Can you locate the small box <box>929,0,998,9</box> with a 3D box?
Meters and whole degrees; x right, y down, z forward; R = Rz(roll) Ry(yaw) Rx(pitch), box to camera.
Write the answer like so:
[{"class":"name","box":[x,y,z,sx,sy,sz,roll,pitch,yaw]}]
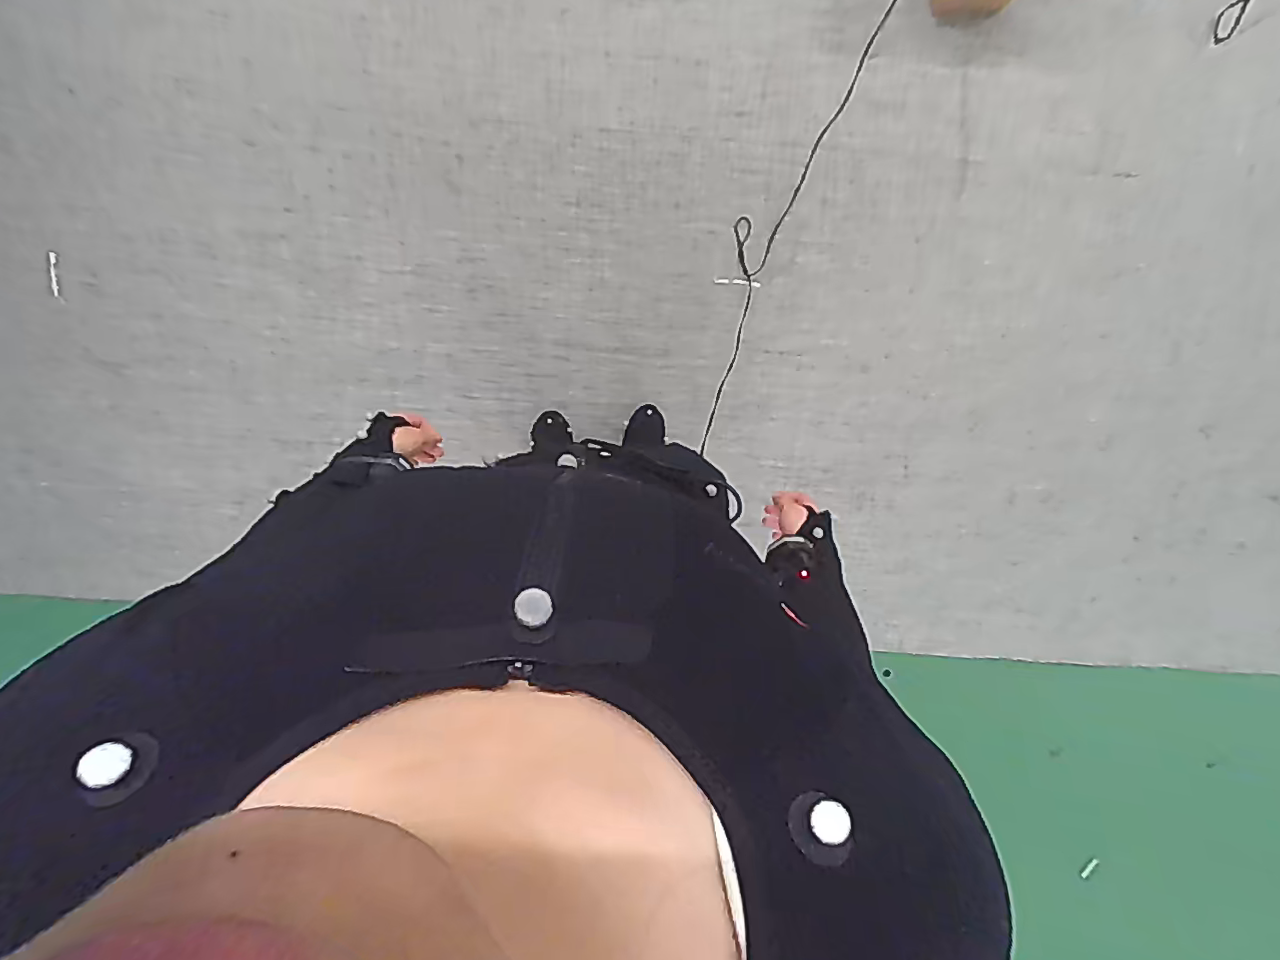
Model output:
[{"class":"small box","box":[0.774,-1.202,1.209,0.179,0.176,0.168,-4,100,0]}]
